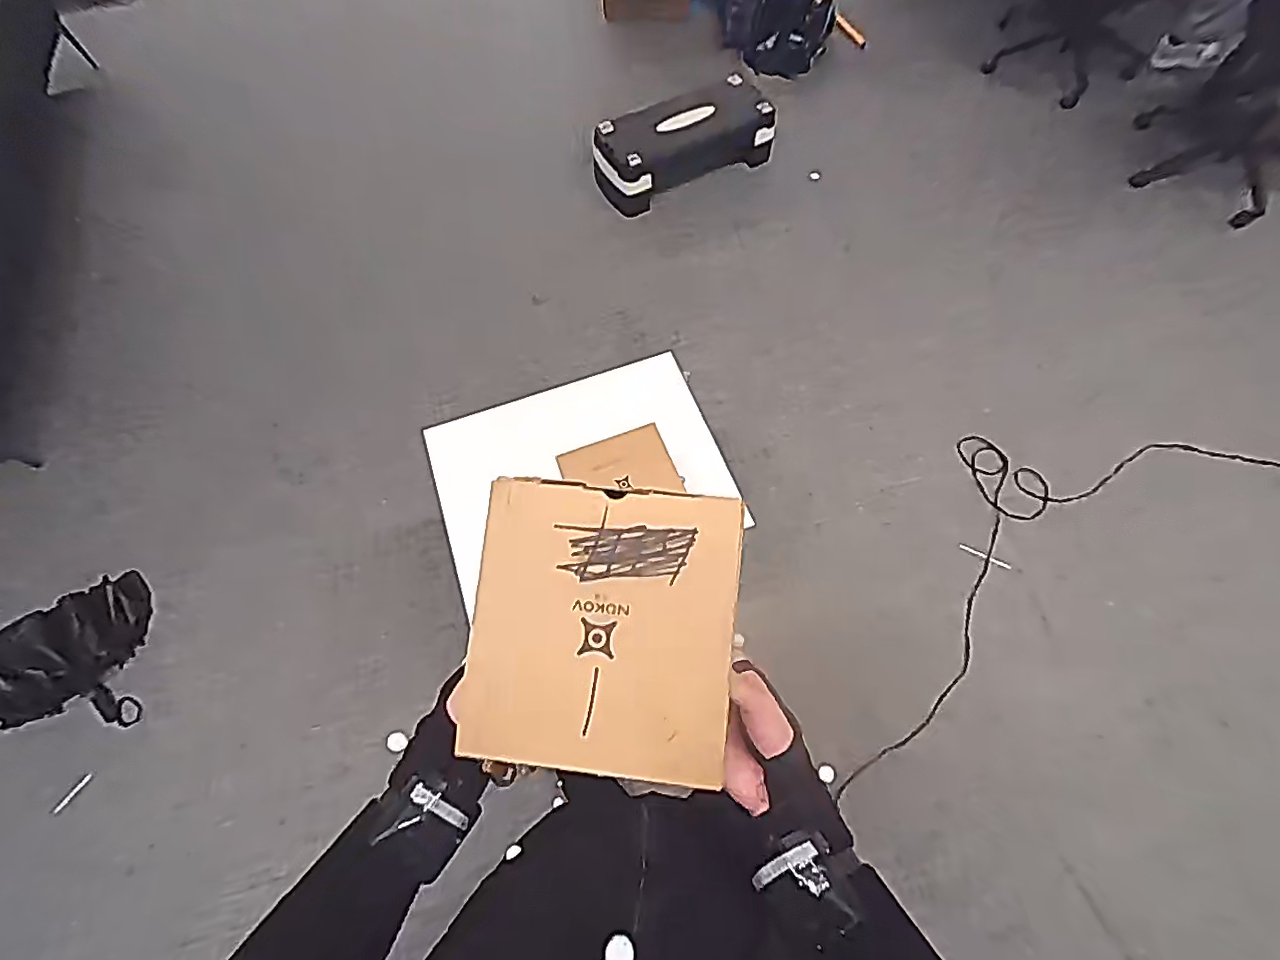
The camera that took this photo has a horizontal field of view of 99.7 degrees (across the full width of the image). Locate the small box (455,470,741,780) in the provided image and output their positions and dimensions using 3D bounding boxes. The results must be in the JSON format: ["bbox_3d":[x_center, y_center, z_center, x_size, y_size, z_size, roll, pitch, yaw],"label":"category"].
[{"bbox_3d":[-0.020,0.100,0.423,0.168,0.176,0.179,6,81,5],"label":"small box"}]

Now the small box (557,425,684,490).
[{"bbox_3d":[-0.021,0.045,0.873,0.168,0.176,0.179,-19,65,-9],"label":"small box"}]
